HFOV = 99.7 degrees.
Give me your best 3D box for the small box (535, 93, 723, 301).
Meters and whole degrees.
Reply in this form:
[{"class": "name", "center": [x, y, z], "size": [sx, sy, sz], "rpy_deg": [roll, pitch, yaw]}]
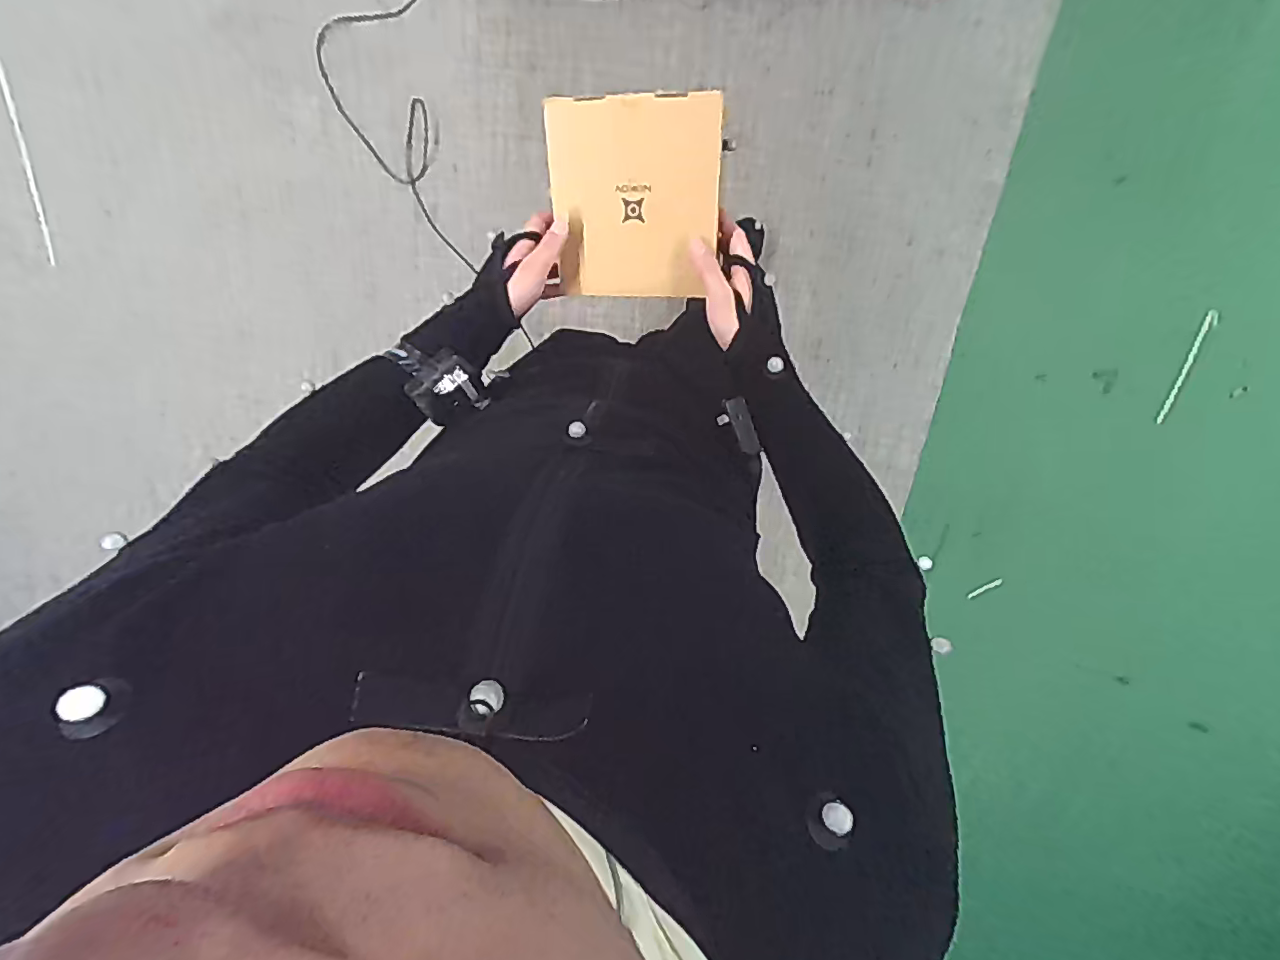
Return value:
[{"class": "small box", "center": [0.001, -0.304, 0.586], "size": [0.168, 0.176, 0.179], "rpy_deg": [3, 121, 10]}]
